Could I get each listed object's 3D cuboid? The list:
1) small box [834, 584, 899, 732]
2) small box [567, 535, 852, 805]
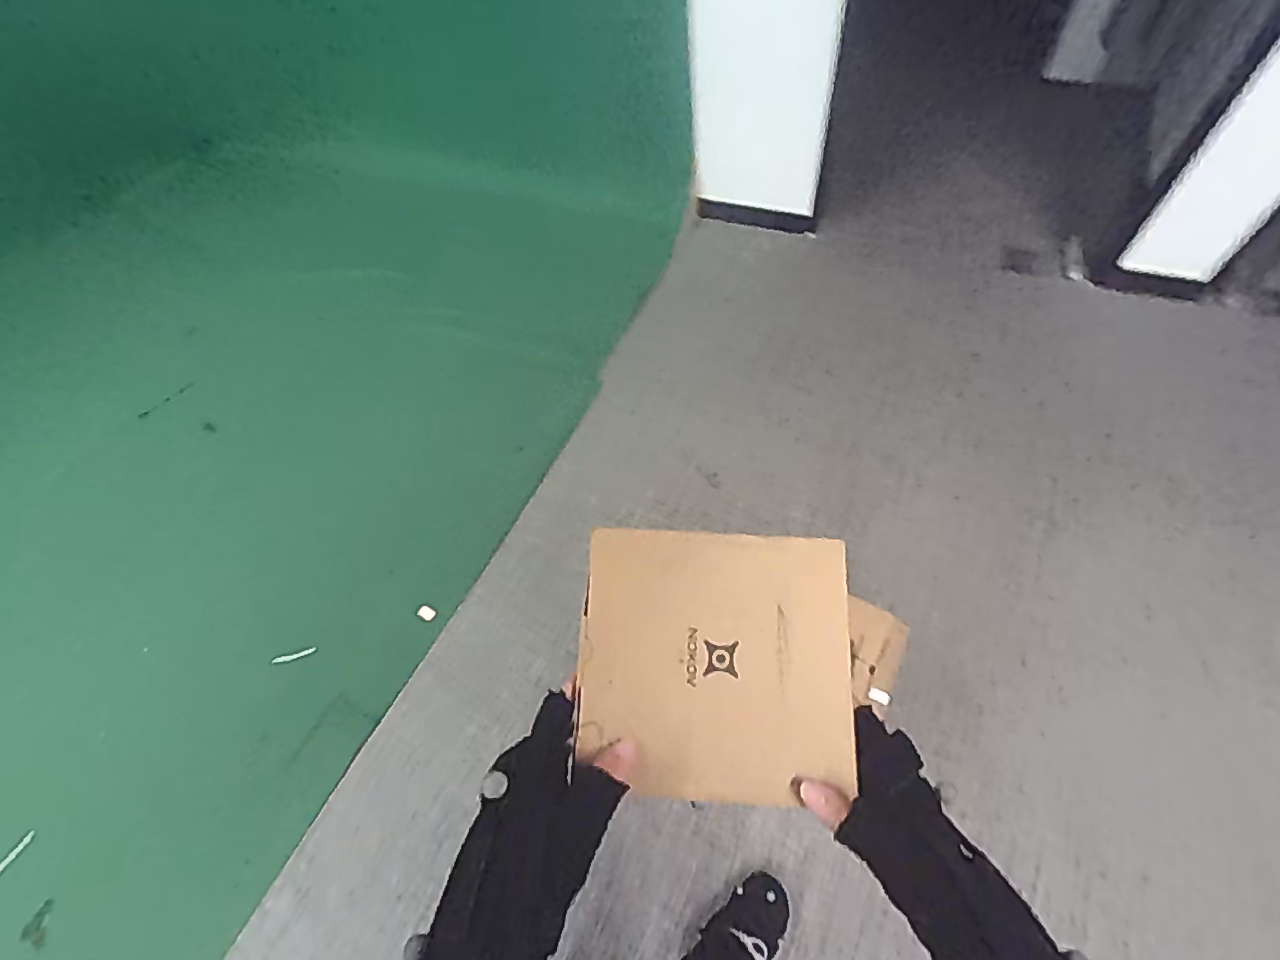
[{"bbox_3d":[0.246,0.250,0.792,0.179,0.176,0.168,23,66,22],"label":"small box"},{"bbox_3d":[0.044,0.138,0.425,0.179,0.176,0.168,0,75,0],"label":"small box"}]
